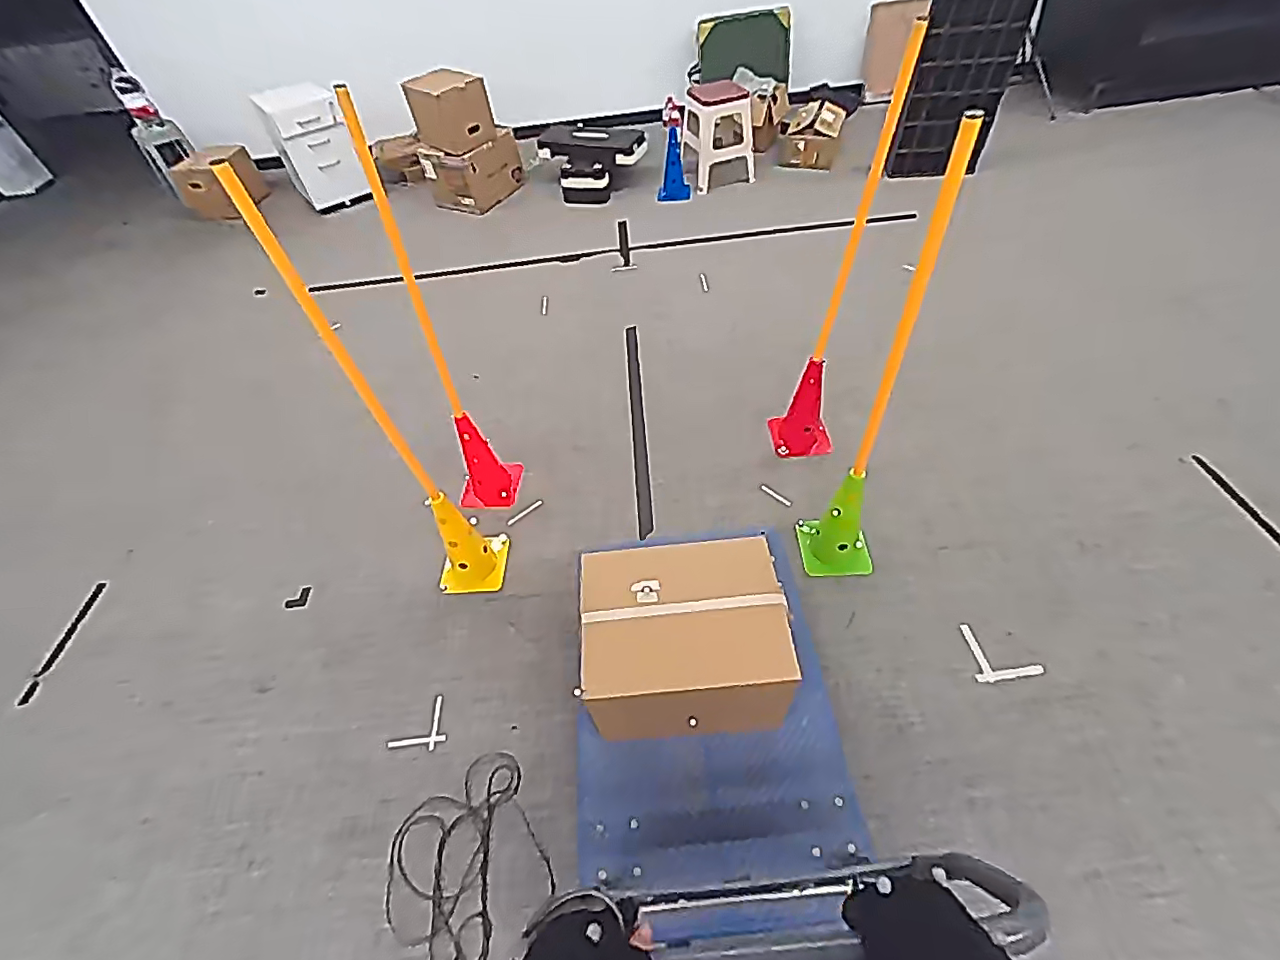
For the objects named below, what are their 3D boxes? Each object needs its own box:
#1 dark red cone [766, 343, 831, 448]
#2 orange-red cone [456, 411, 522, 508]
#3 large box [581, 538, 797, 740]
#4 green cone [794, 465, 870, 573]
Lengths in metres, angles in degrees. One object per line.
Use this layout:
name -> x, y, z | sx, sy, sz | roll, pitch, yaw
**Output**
dark red cone -> 0.568, -0.293, 1.848 | 0.201, 0.394, 0.202 | -5, 51, 0
orange-red cone -> -0.548, -0.091, 1.828 | 0.198, 0.360, 0.199 | 0, 49, 5
large box -> 0.096, 0.359, 1.196 | 0.408, 0.320, 0.320 | -7, 50, 2
green cone -> 0.583, 0.091, 1.551 | 0.202, 0.368, 0.200 | -2, 50, 3
